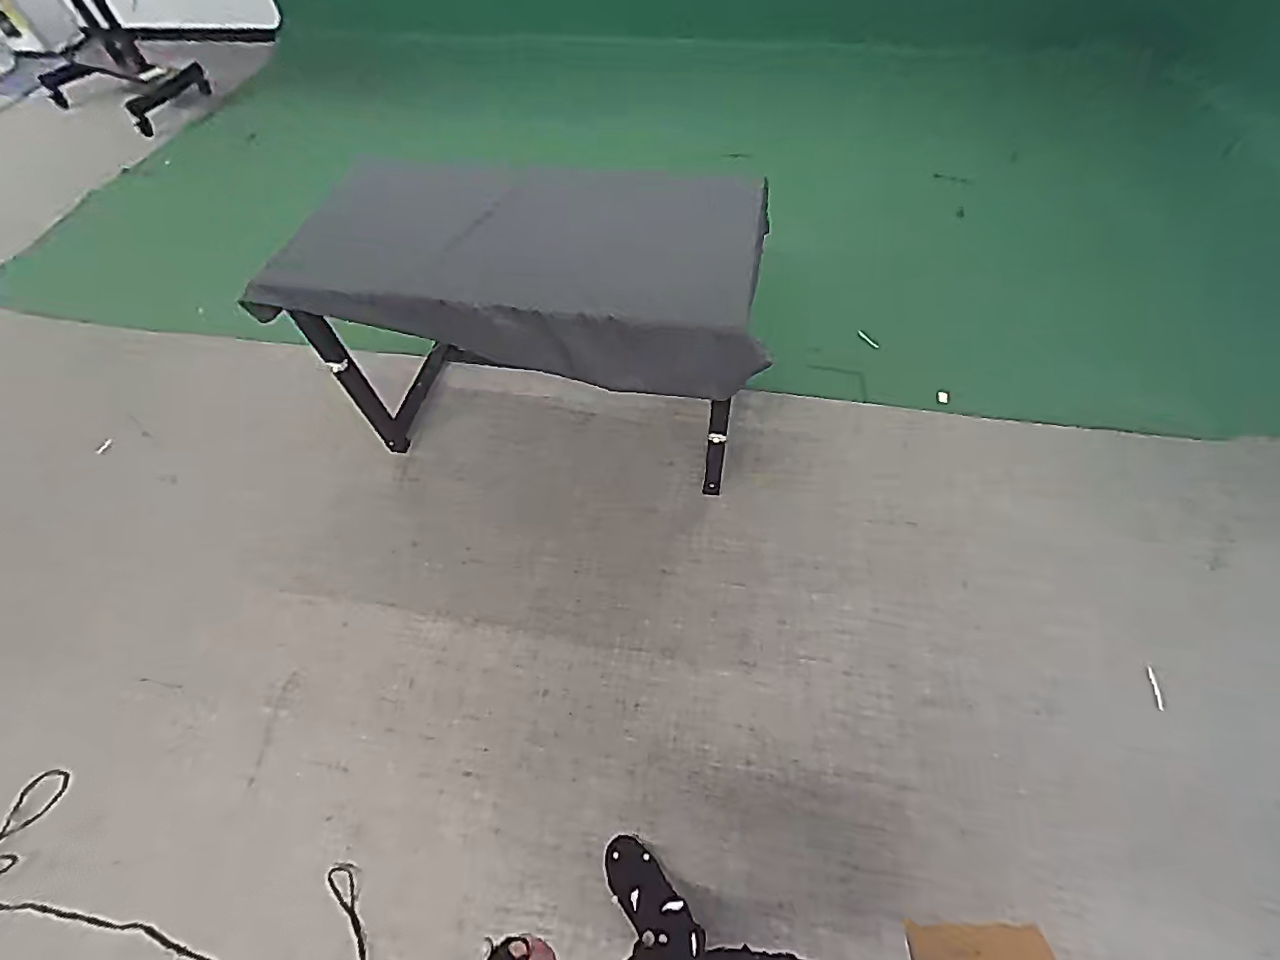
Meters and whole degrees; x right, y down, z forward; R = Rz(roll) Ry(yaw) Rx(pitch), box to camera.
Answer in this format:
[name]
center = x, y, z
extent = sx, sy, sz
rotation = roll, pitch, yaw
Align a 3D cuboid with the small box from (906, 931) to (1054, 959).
[small box]
center = 0.430, 0.684, 0.630
extent = 0.168, 0.179, 0.176
rotation = -9, 91, 14
